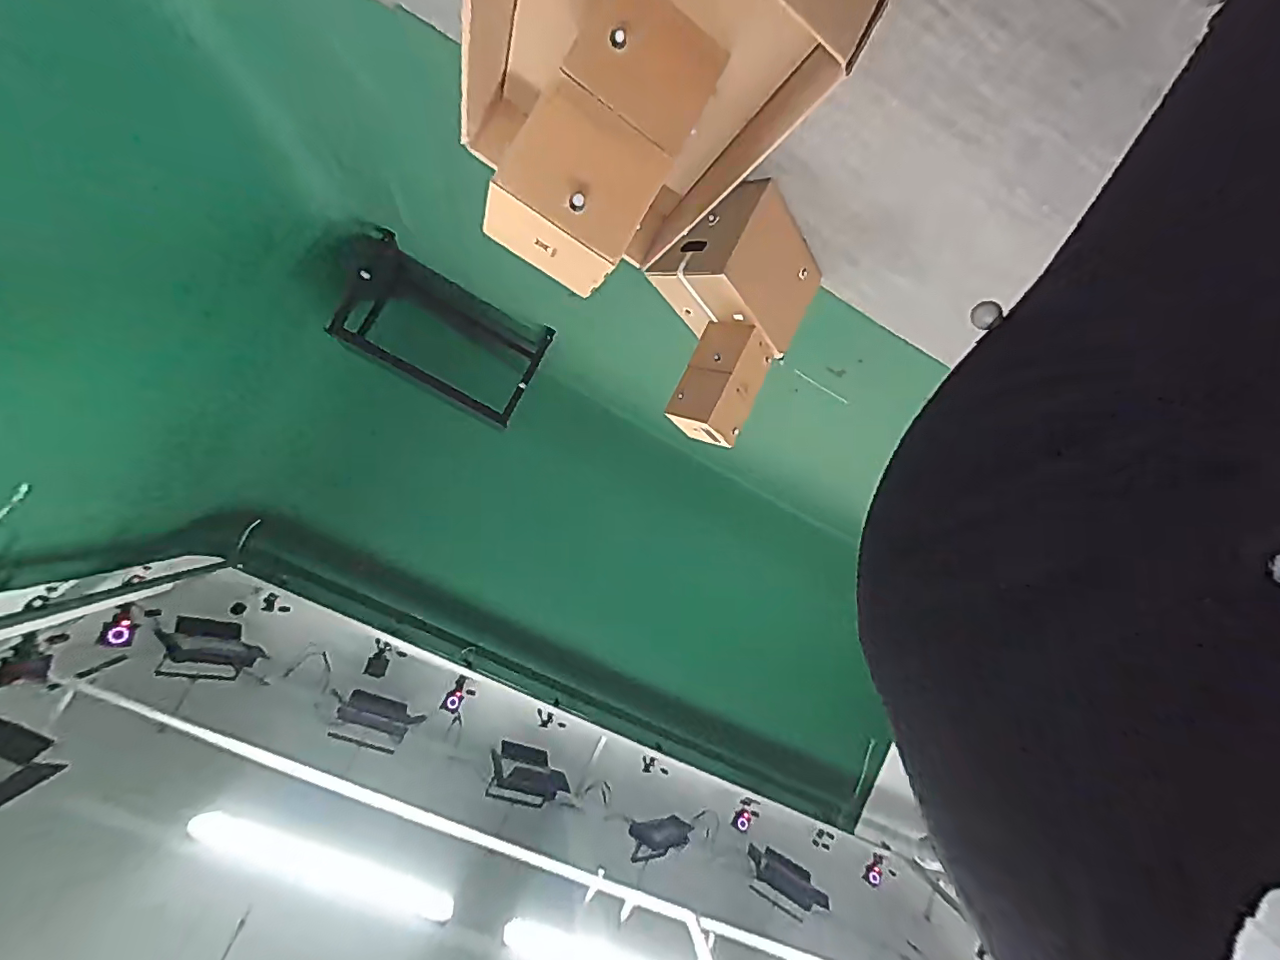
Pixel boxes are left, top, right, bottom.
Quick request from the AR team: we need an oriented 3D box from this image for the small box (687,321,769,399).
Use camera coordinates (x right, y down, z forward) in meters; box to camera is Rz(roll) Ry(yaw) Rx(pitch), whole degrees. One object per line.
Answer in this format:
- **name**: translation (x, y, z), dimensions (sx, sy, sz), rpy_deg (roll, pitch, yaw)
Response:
- **small box**: translation (0.281, -0.377, 1.681), dimensions (0.179, 0.176, 0.168), rpy_deg (21, 170, 40)

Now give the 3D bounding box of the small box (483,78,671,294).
- **small box**: translation (-0.089, -0.389, 0.729), dimensions (0.179, 0.176, 0.168), rpy_deg (28, 174, -19)
